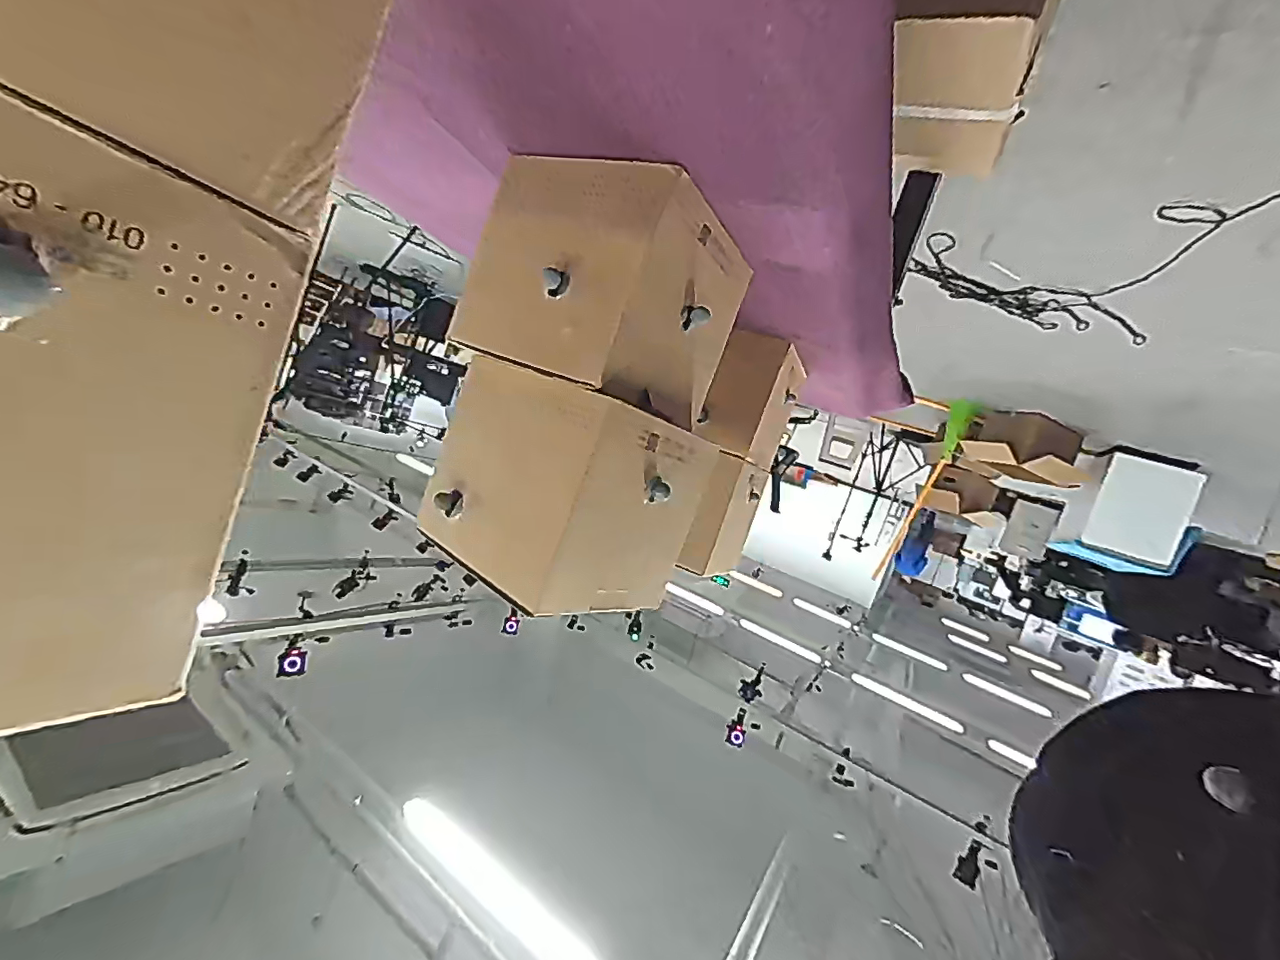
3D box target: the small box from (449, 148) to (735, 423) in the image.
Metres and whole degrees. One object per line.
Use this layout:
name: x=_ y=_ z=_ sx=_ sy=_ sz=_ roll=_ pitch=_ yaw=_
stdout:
small box: x=-0.031 y=-0.167 z=0.483 sx=0.179 sy=0.176 sz=0.168 roll=22 pitch=-177 yaw=30

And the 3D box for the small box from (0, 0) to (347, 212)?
small box: x=-0.183 y=-0.201 z=0.135 sx=0.179 sy=0.176 sz=0.168 roll=22 pitch=-176 yaw=26

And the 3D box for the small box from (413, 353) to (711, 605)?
small box: x=-0.065 y=-0.003 z=0.487 sx=0.179 sy=0.176 sz=0.168 roll=22 pitch=-175 yaw=36

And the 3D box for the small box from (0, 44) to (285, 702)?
small box: x=-0.238 y=-0.048 z=0.150 sx=0.179 sy=0.176 sz=0.168 roll=23 pitch=-175 yaw=28

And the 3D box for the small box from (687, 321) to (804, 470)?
small box: x=0.123 y=-0.130 z=0.802 sx=0.179 sy=0.176 sz=0.168 roll=20 pitch=-178 yaw=25
